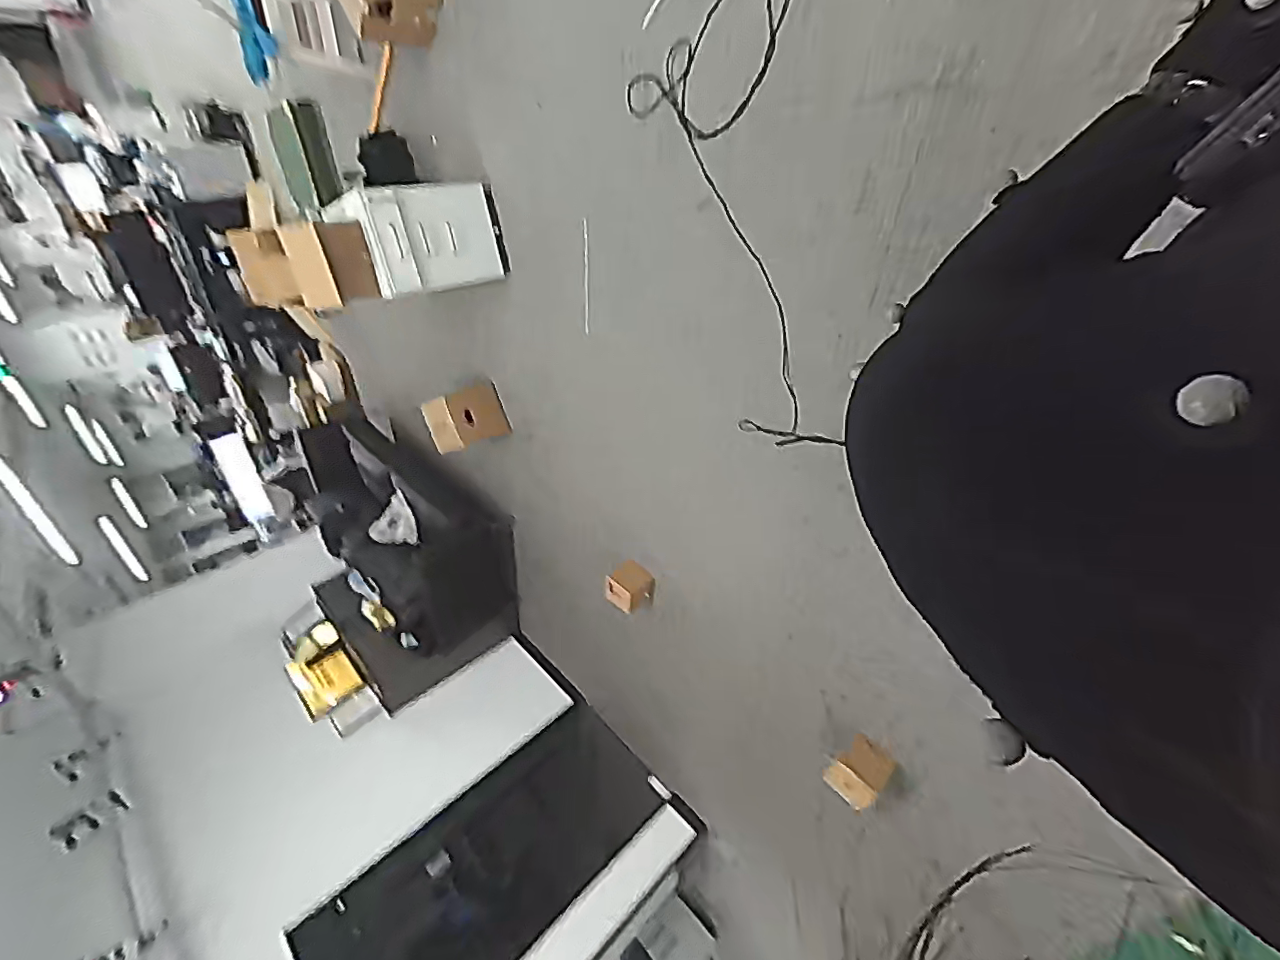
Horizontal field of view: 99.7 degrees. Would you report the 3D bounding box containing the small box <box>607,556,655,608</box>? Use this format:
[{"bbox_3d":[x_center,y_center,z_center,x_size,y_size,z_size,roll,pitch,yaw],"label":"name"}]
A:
[{"bbox_3d":[-0.048,0.517,2.788,0.179,0.176,0.168,33,135,32],"label":"small box"}]

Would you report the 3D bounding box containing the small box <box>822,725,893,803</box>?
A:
[{"bbox_3d":[0.839,1.088,2.079,0.168,0.176,0.179,37,137,29],"label":"small box"}]
